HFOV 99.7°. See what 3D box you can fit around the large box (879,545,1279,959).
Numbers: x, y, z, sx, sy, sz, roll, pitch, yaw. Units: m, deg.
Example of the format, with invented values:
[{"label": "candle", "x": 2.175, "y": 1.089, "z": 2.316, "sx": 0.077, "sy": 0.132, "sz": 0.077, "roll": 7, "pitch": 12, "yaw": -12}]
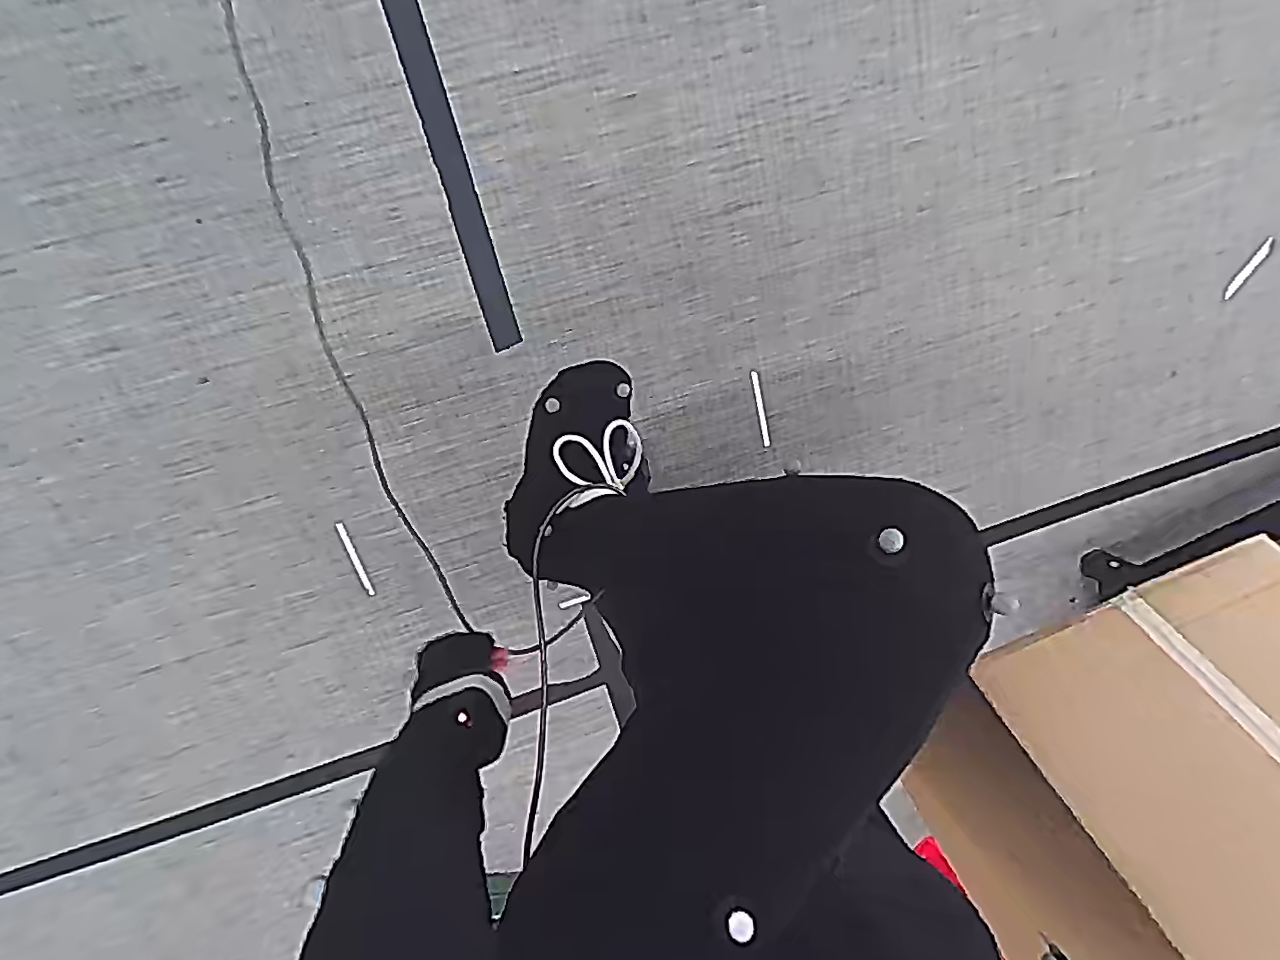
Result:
[{"label": "large box", "x": 0.490, "y": 0.338, "z": 0.470, "sx": 0.320, "sy": 0.408, "sz": 0.320, "roll": -21, "pitch": 143, "yaw": -6}]
